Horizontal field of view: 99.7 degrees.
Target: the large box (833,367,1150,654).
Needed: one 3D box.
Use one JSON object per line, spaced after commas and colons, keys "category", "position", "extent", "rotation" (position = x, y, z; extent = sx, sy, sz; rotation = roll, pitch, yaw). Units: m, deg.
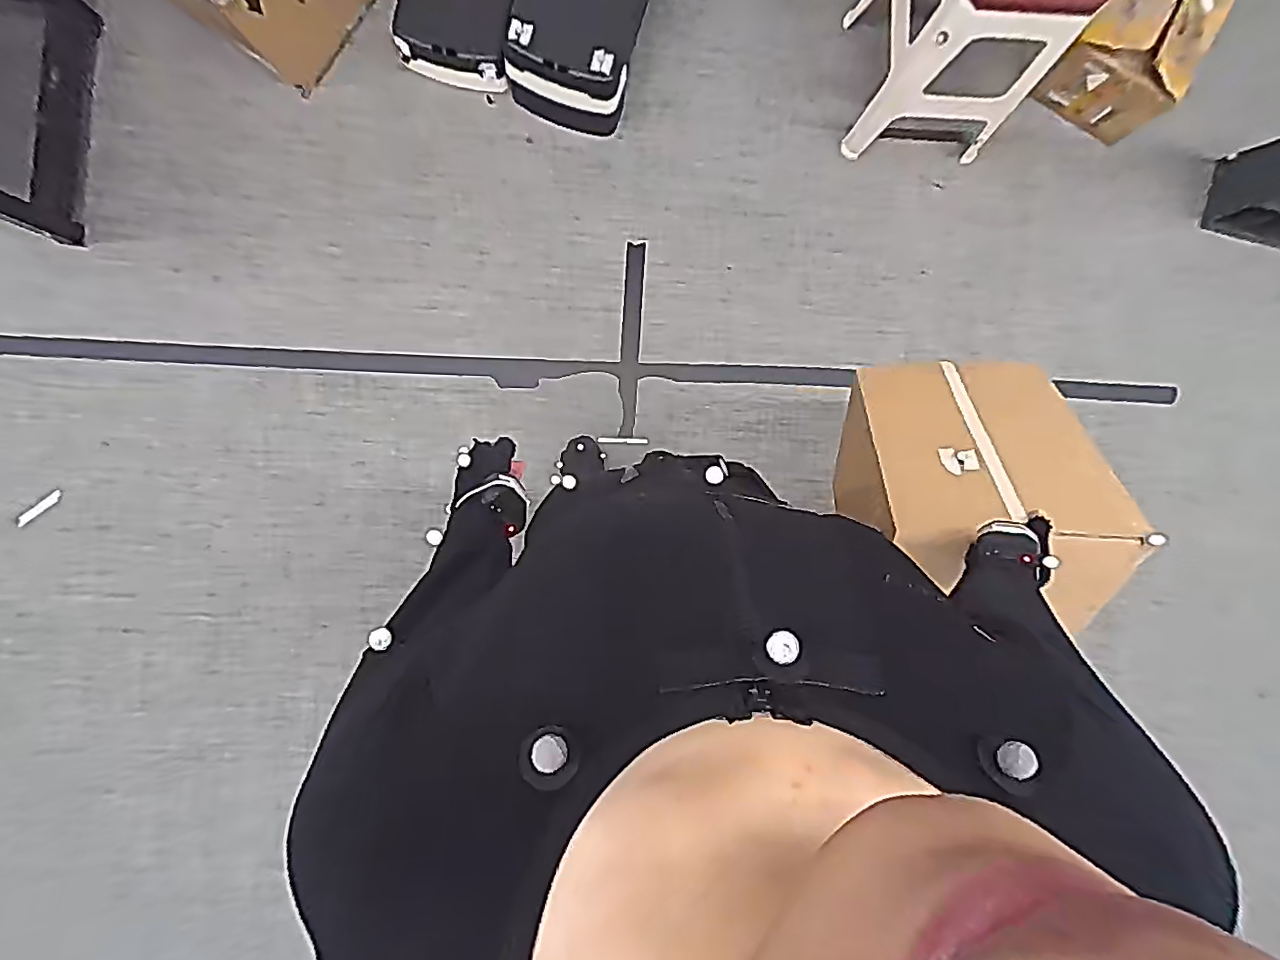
{"category": "large box", "position": [0.548, 0.043, 0.962], "extent": [0.320, 0.408, 0.320], "rotation": [2, 136, 10]}
